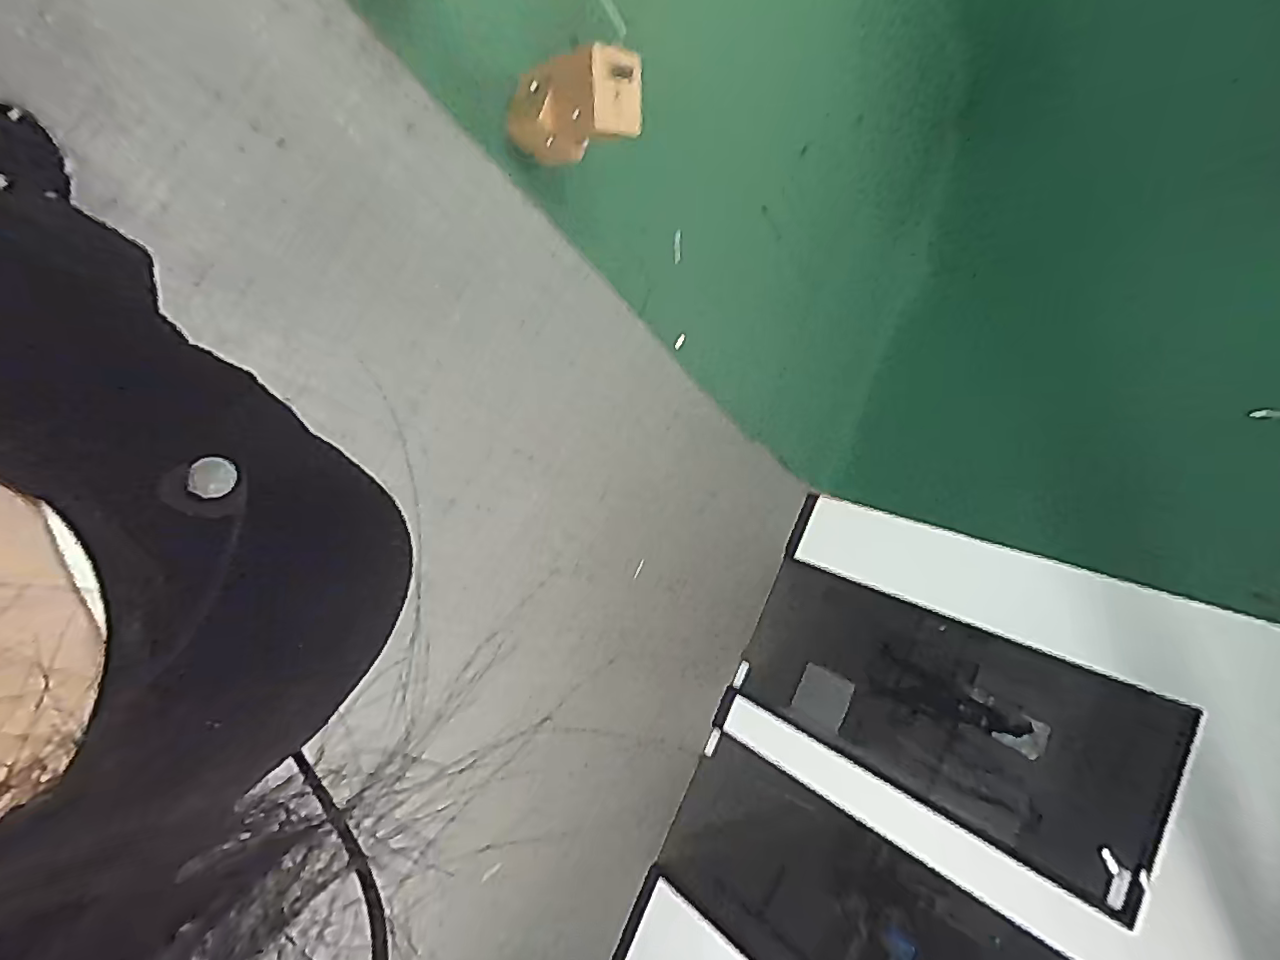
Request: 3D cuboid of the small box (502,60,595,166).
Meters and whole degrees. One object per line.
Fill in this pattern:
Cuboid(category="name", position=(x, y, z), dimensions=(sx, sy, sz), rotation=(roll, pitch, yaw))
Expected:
Cuboid(category="small box", position=(-0.261, -1.019, 1.519), dimensions=(0.168, 0.176, 0.179), rotation=(20, 89, -51))
